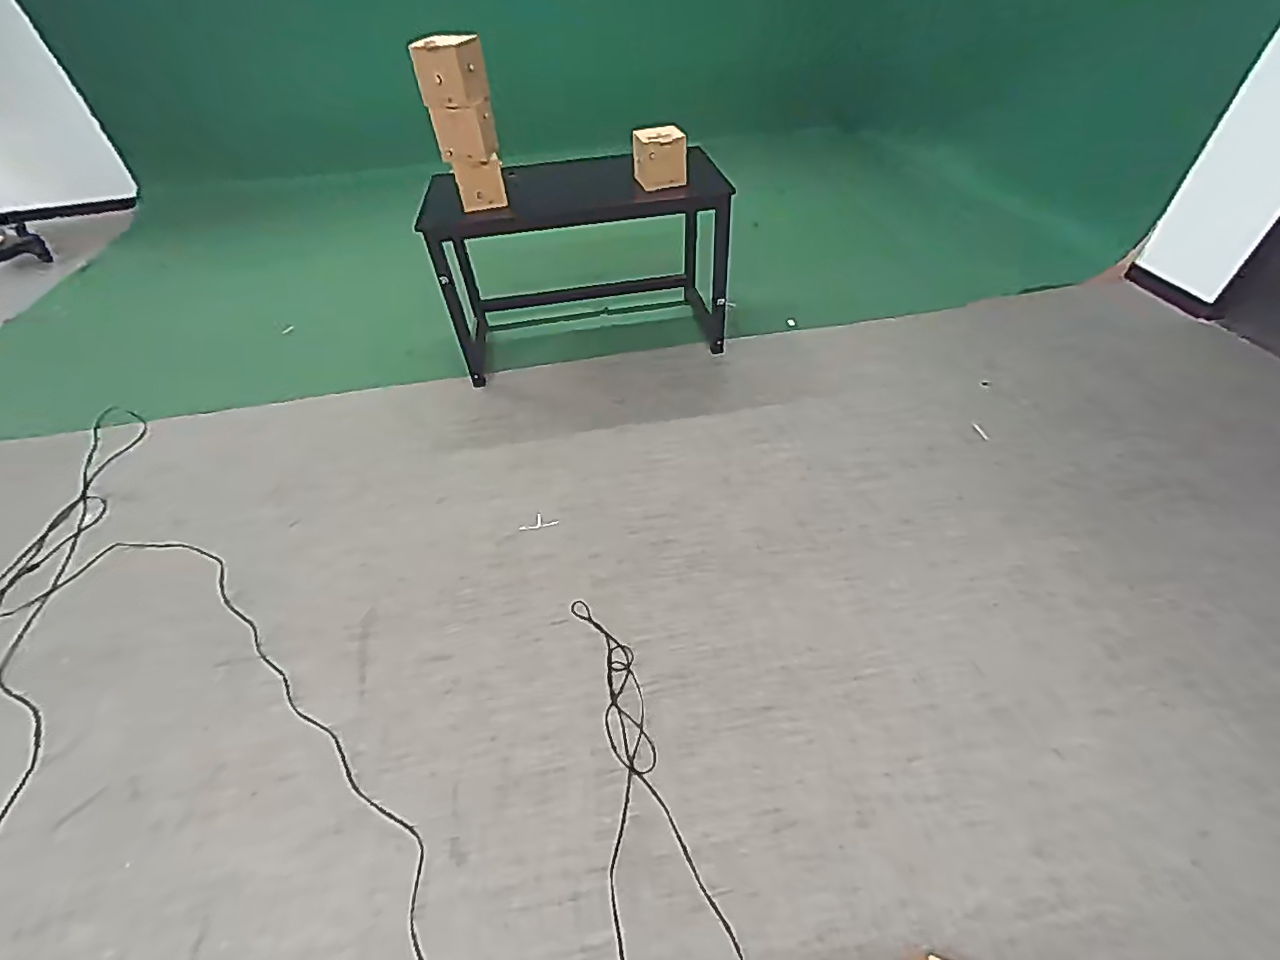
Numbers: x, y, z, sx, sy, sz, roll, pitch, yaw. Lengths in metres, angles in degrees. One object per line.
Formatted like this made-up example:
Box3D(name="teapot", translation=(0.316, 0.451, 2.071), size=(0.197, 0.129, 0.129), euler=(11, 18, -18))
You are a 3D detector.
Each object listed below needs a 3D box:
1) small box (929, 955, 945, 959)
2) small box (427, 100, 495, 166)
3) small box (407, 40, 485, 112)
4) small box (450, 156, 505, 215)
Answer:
Box3D(name="small box", translation=(0.507, 0.882, 0.837), size=(0.168, 0.176, 0.179), euler=(12, 49, 16))
Box3D(name="small box", translation=(-0.634, -1.246, 1.943), size=(0.168, 0.176, 0.179), euler=(1, 46, 4))
Box3D(name="small box", translation=(-0.645, -1.364, 1.829), size=(0.168, 0.176, 0.179), euler=(9, 49, 11))
Box3D(name="small box", translation=(-0.622, -1.133, 2.061), size=(0.168, 0.176, 0.179), euler=(-15, 48, -11))
